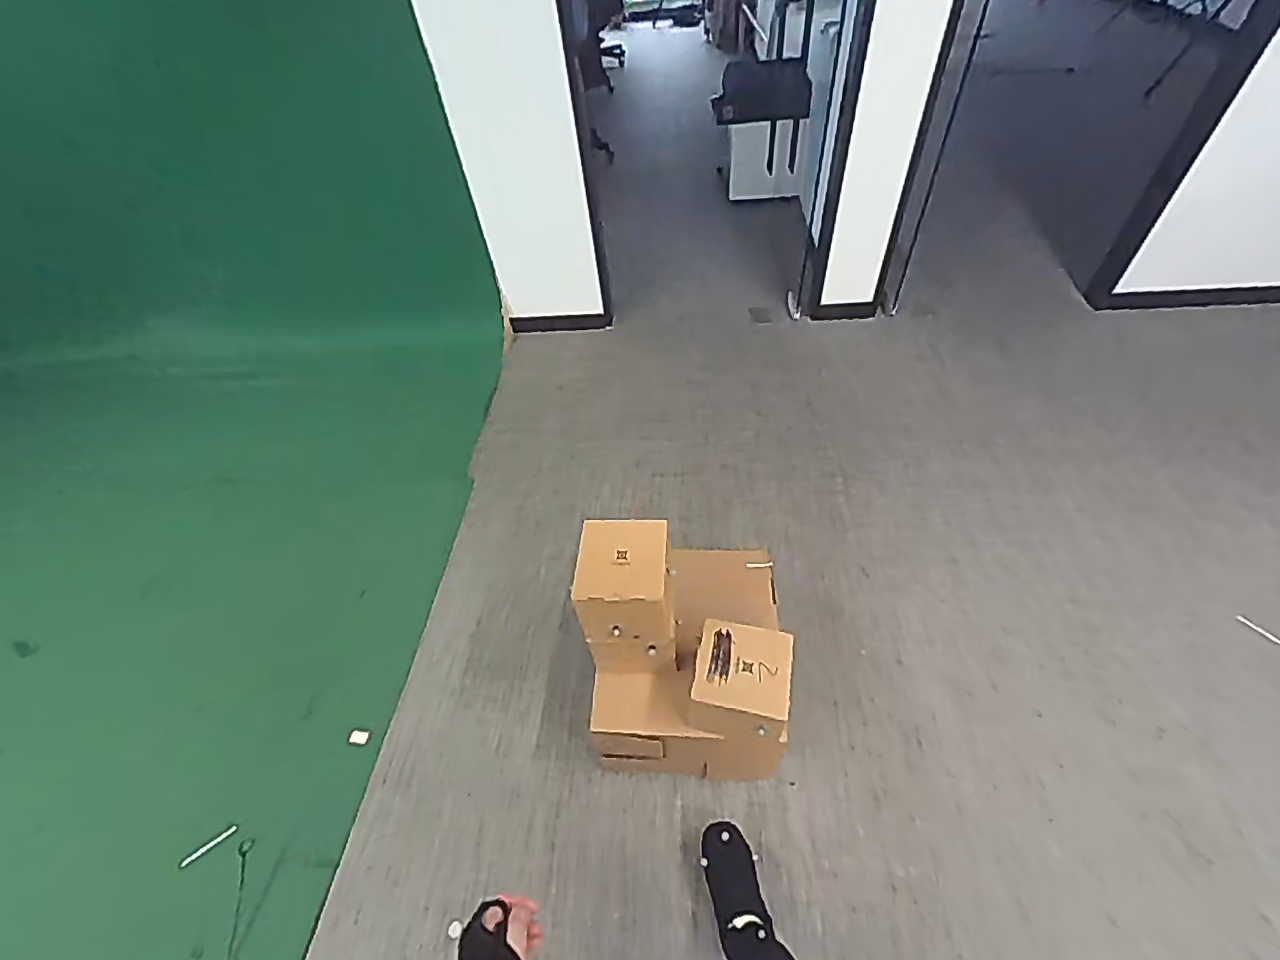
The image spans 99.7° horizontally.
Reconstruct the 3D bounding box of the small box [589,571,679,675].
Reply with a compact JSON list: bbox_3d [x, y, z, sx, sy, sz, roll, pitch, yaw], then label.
[{"bbox_3d":[-0.005,0.311,1.172,0.179,0.176,0.168,-2,47,6],"label":"small box"}]

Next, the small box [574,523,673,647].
[{"bbox_3d":[-0.023,0.203,1.052,0.168,0.176,0.179,0,48,7],"label":"small box"}]
